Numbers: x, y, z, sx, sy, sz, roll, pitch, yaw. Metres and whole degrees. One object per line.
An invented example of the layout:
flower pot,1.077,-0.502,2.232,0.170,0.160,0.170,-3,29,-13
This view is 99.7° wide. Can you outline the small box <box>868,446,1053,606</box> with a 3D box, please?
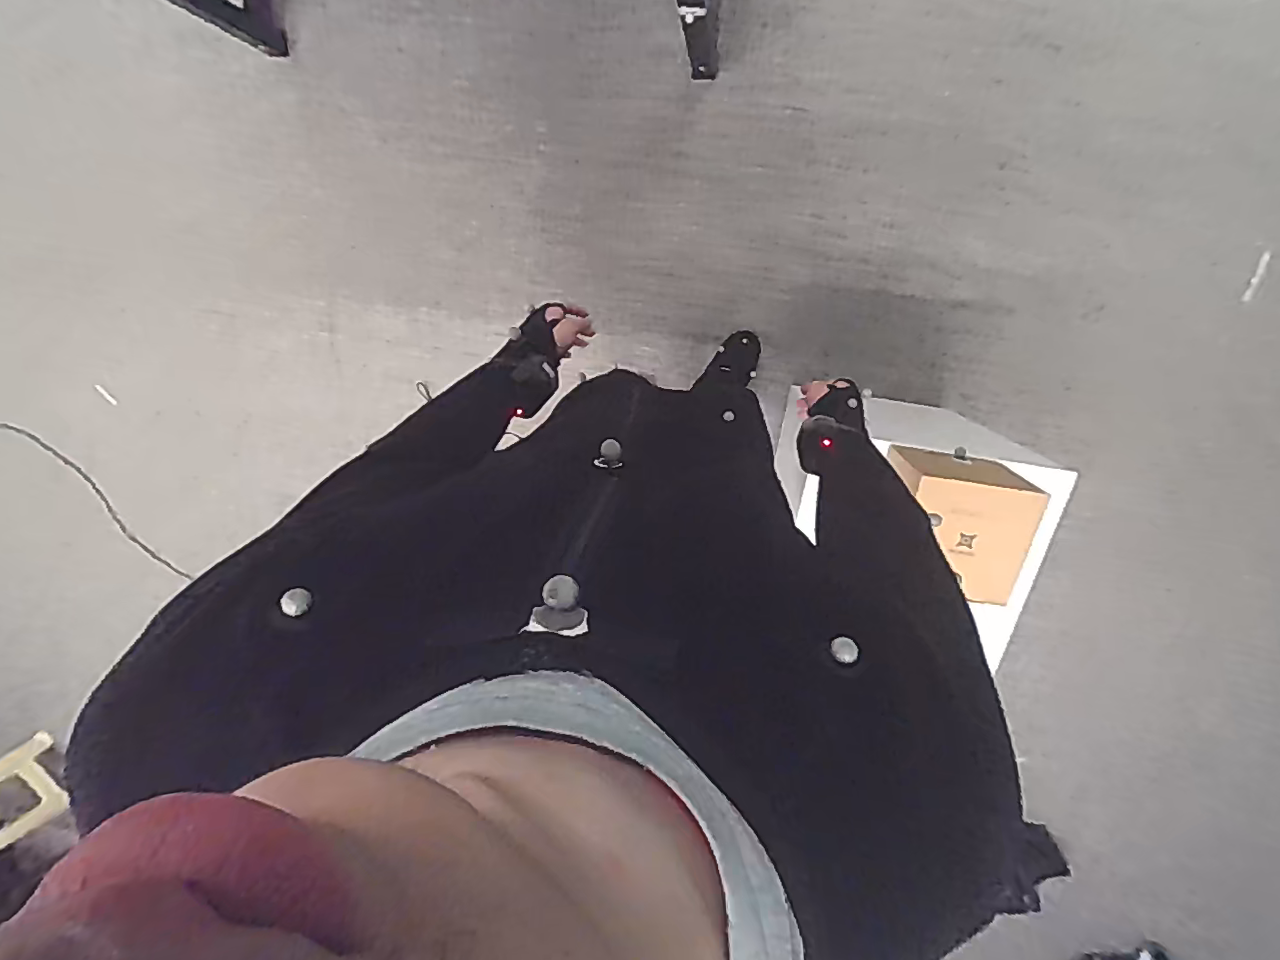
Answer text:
small box,0.460,0.061,0.813,0.168,0.176,0.179,7,108,4
